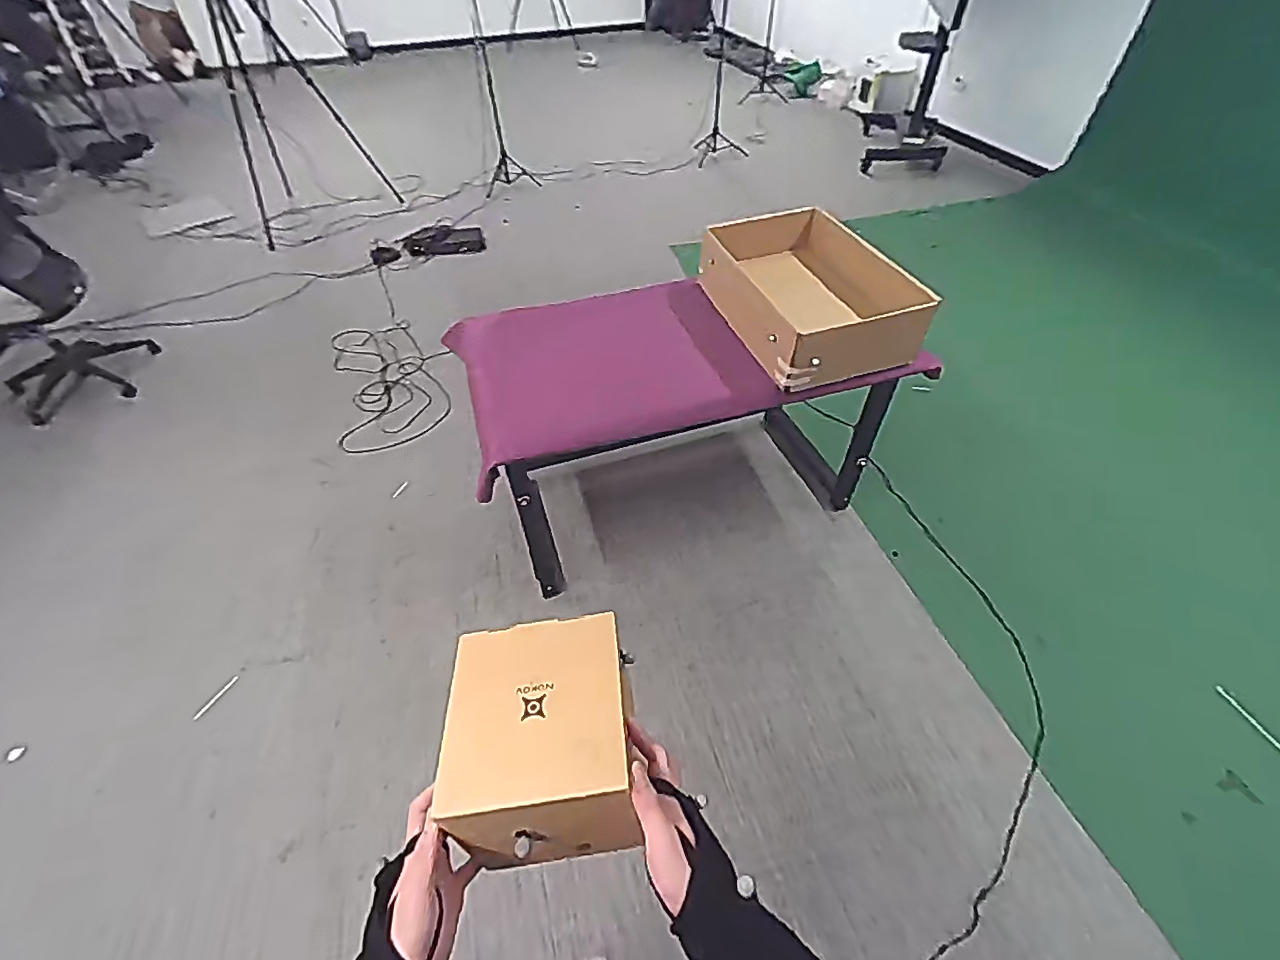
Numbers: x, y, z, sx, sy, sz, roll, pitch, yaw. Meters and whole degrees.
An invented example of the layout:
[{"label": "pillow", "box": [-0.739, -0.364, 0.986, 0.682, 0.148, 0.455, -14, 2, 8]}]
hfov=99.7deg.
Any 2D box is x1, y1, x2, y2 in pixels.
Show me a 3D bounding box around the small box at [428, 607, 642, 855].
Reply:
[{"label": "small box", "box": [-0.093, 0.261, 0.557, 0.168, 0.176, 0.179, -9, 41, -1]}]
